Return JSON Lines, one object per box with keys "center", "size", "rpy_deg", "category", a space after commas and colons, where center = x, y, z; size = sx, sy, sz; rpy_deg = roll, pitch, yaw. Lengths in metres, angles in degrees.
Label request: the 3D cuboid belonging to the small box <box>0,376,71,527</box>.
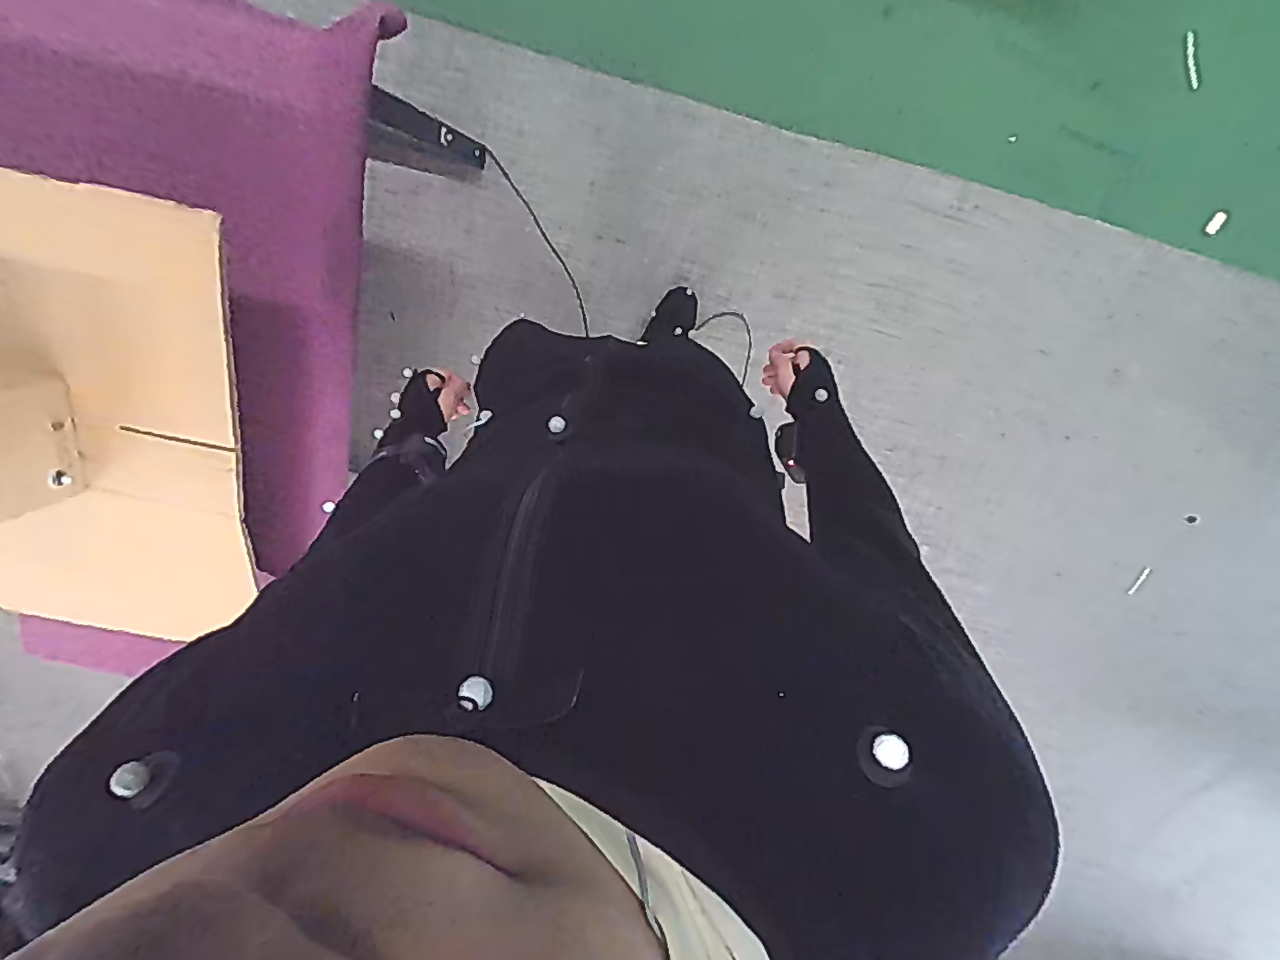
{"center": [-0.846, -0.036, 0.646], "size": [0.179, 0.176, 0.168], "rpy_deg": [11, 110, -1], "category": "small box"}
